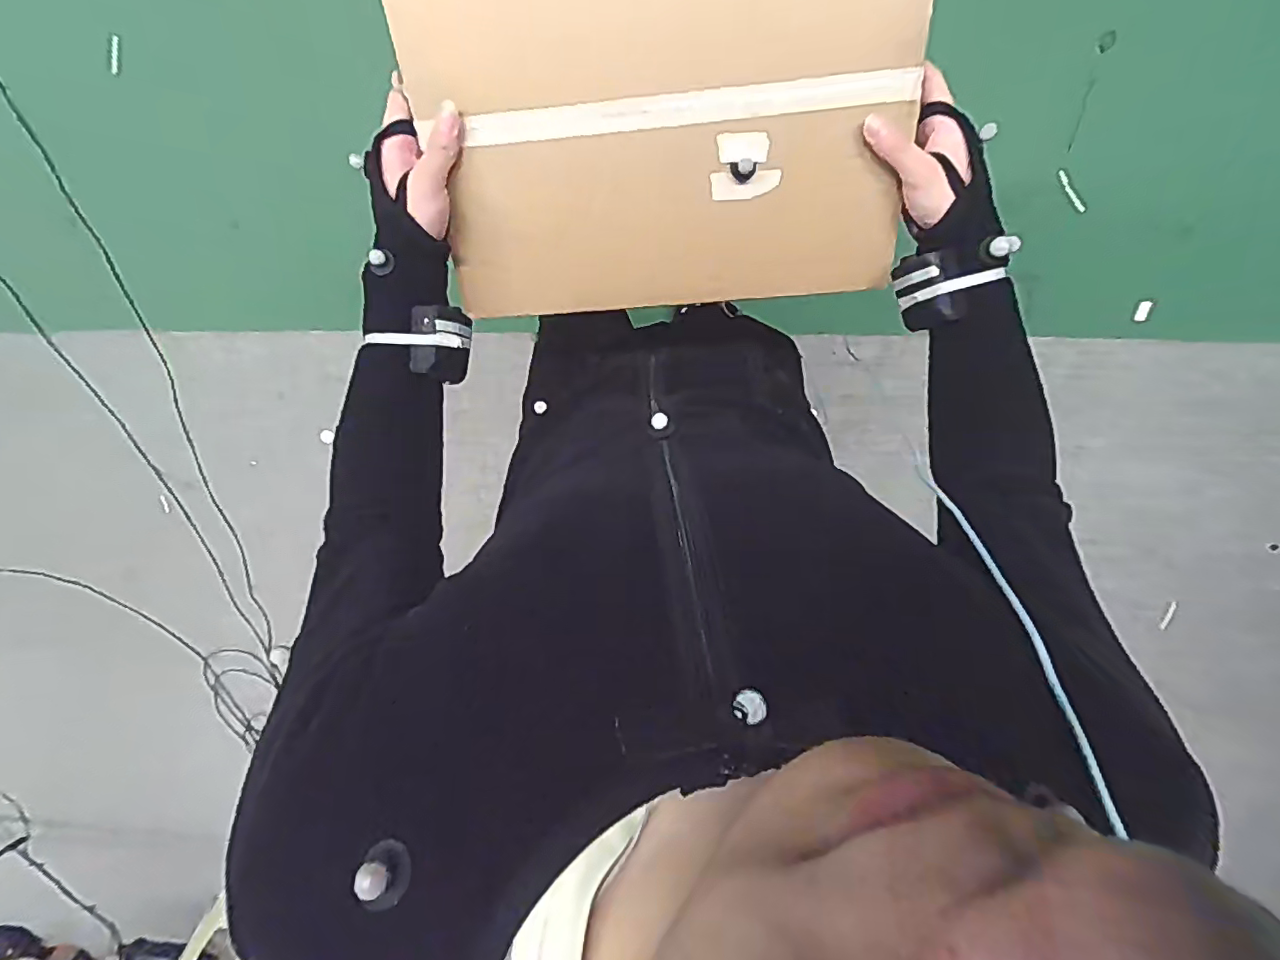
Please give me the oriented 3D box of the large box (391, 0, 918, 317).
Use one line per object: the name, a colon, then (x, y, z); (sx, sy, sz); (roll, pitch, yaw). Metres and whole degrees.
large box: (0.018, -0.389, 0.571); (0.408, 0.320, 0.320); (-4, 125, 4)
